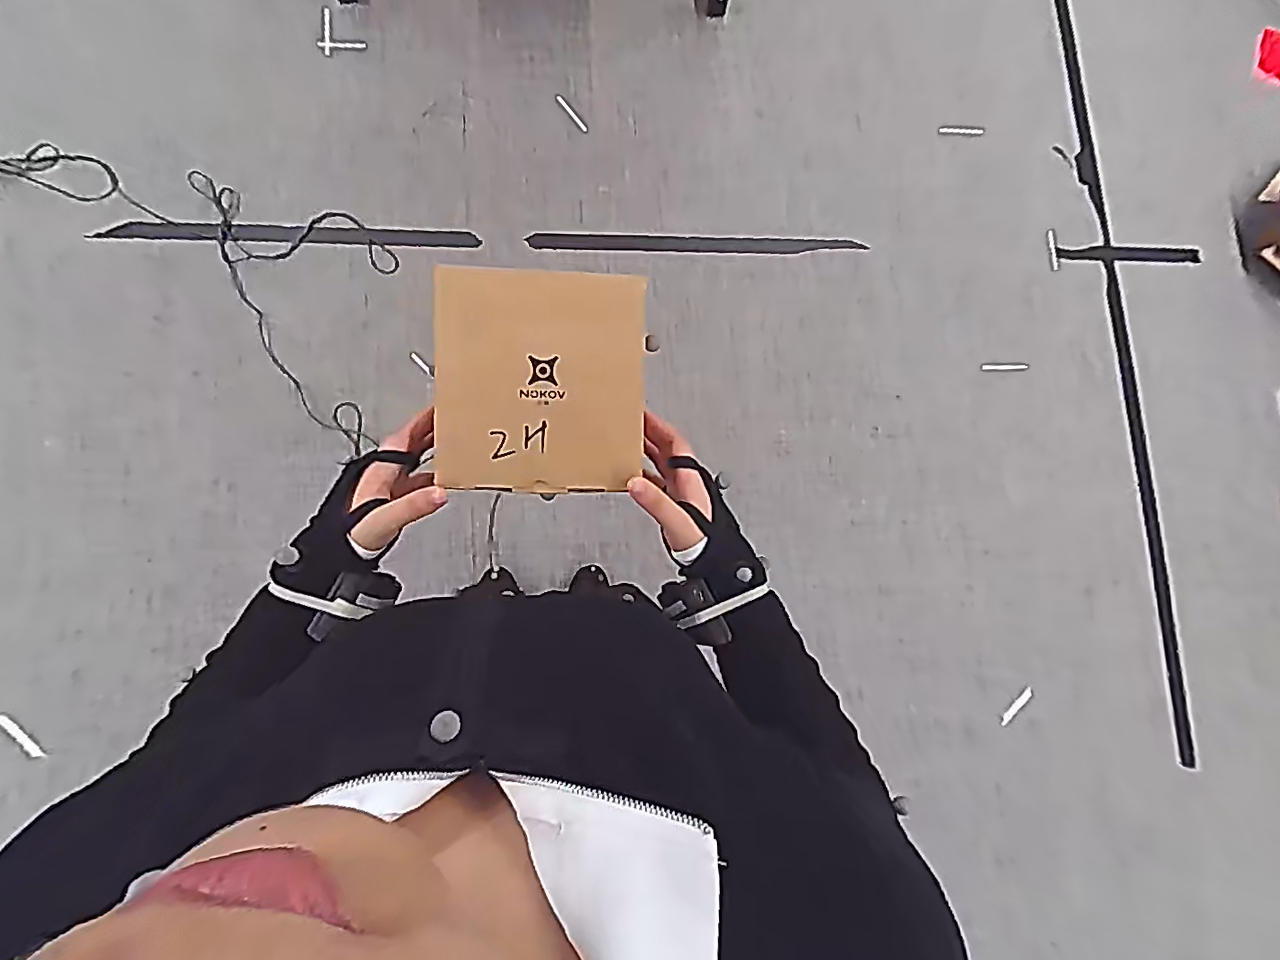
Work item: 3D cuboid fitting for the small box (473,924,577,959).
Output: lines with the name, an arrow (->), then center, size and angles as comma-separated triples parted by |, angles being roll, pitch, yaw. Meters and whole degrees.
small box -> -0.183, 0.831, 0.839 | 0.168, 0.176, 0.179 | 1, 81, -7

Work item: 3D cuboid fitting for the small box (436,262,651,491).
small box -> -0.084, -0.082, 0.507 | 0.168, 0.176, 0.179 | 1, 92, -6
